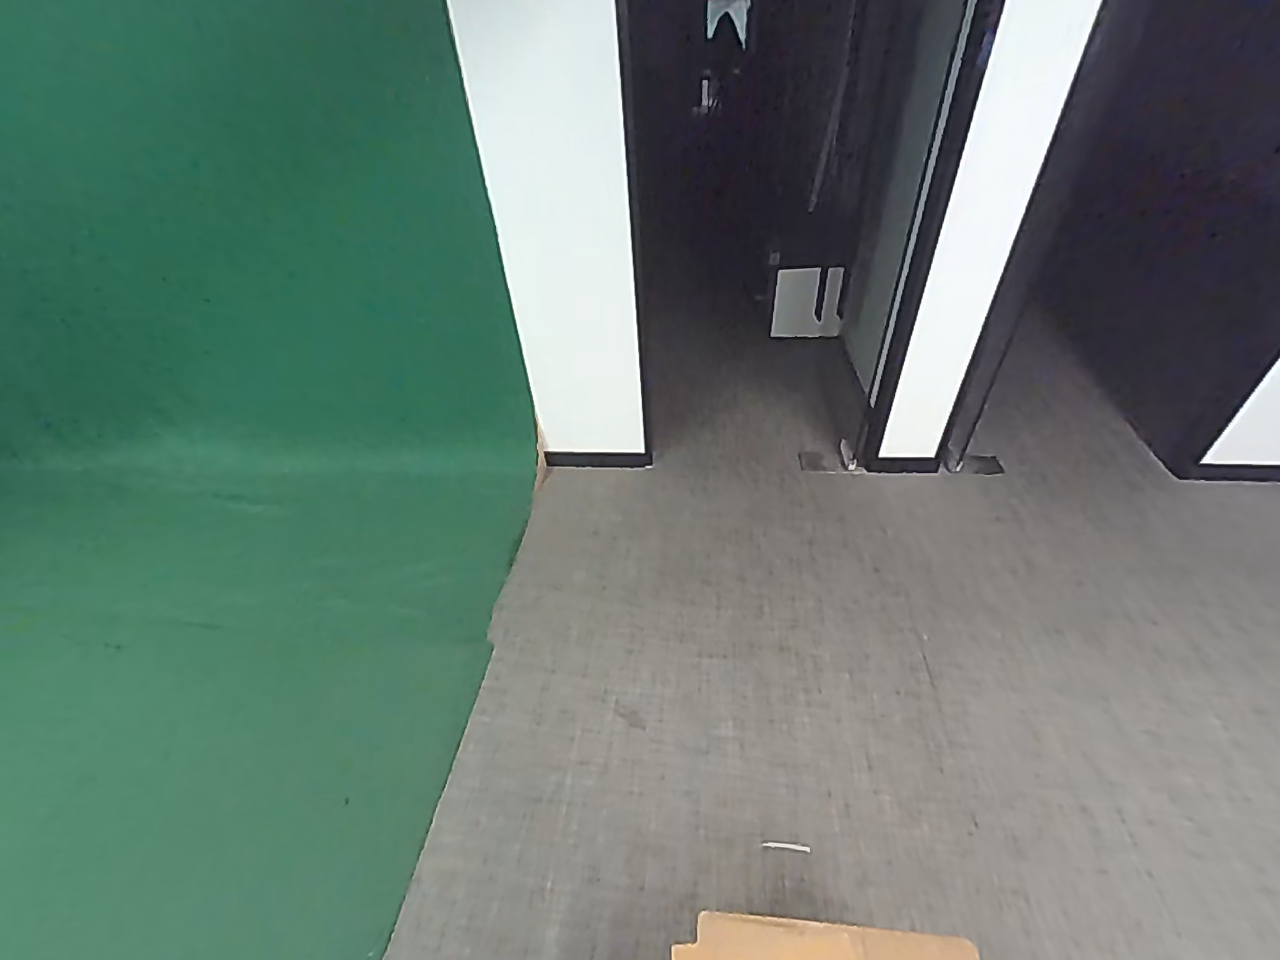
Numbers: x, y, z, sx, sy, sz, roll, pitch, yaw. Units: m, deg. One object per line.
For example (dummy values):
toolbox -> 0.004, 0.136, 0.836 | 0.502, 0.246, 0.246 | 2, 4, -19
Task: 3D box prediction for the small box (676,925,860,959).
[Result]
small box -> 0.124, 0.530, 0.468 | 0.168, 0.176, 0.179 | -8, 32, 3
